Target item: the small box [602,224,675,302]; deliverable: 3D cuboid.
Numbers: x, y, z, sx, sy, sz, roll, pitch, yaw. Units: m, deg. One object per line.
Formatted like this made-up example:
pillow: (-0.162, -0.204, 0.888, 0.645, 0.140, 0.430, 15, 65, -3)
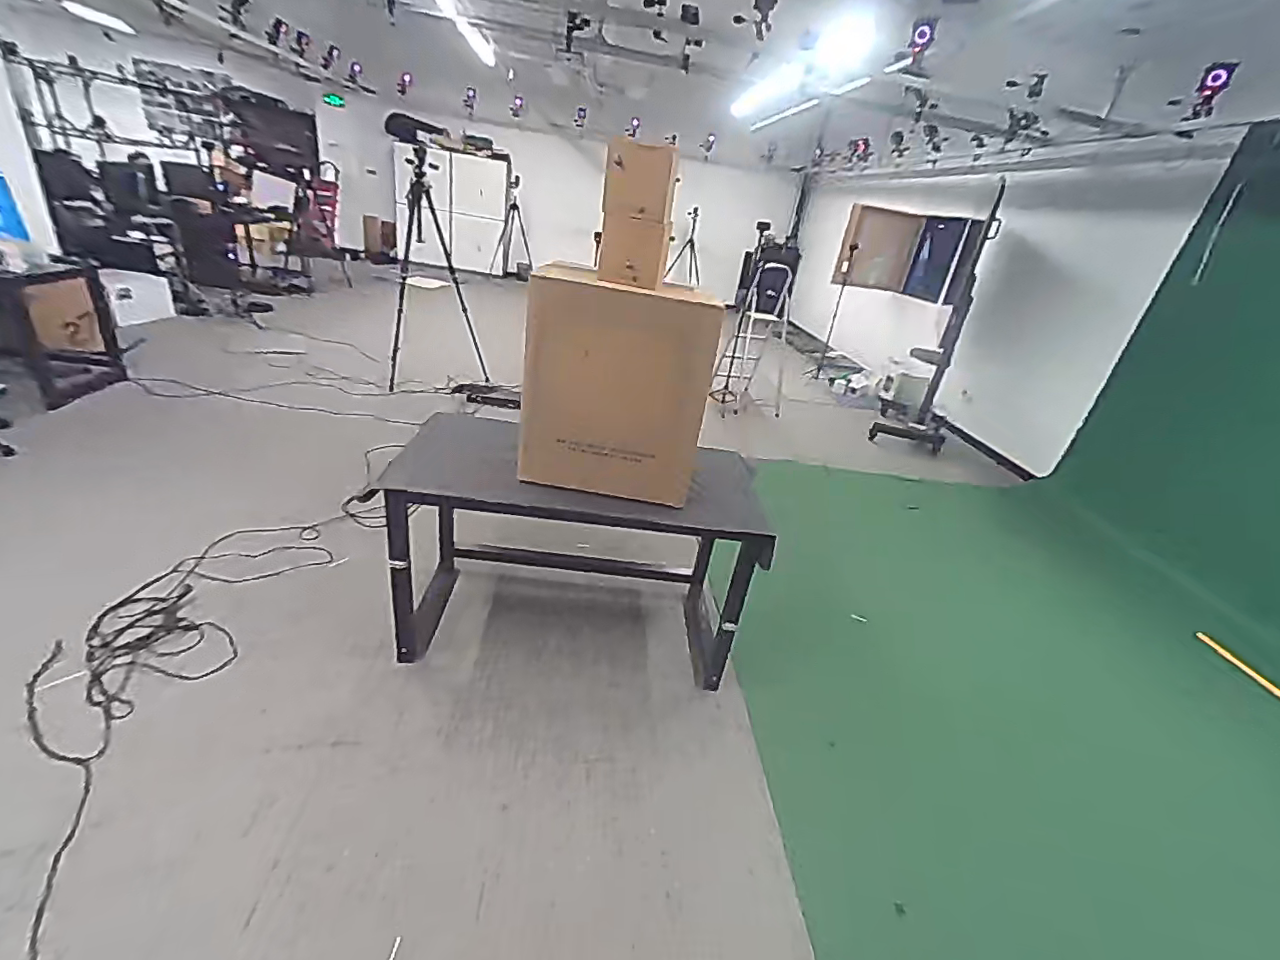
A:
small box: (-0.005, -0.611, 1.517, 0.168, 0.176, 0.179, 12, 28, 4)
